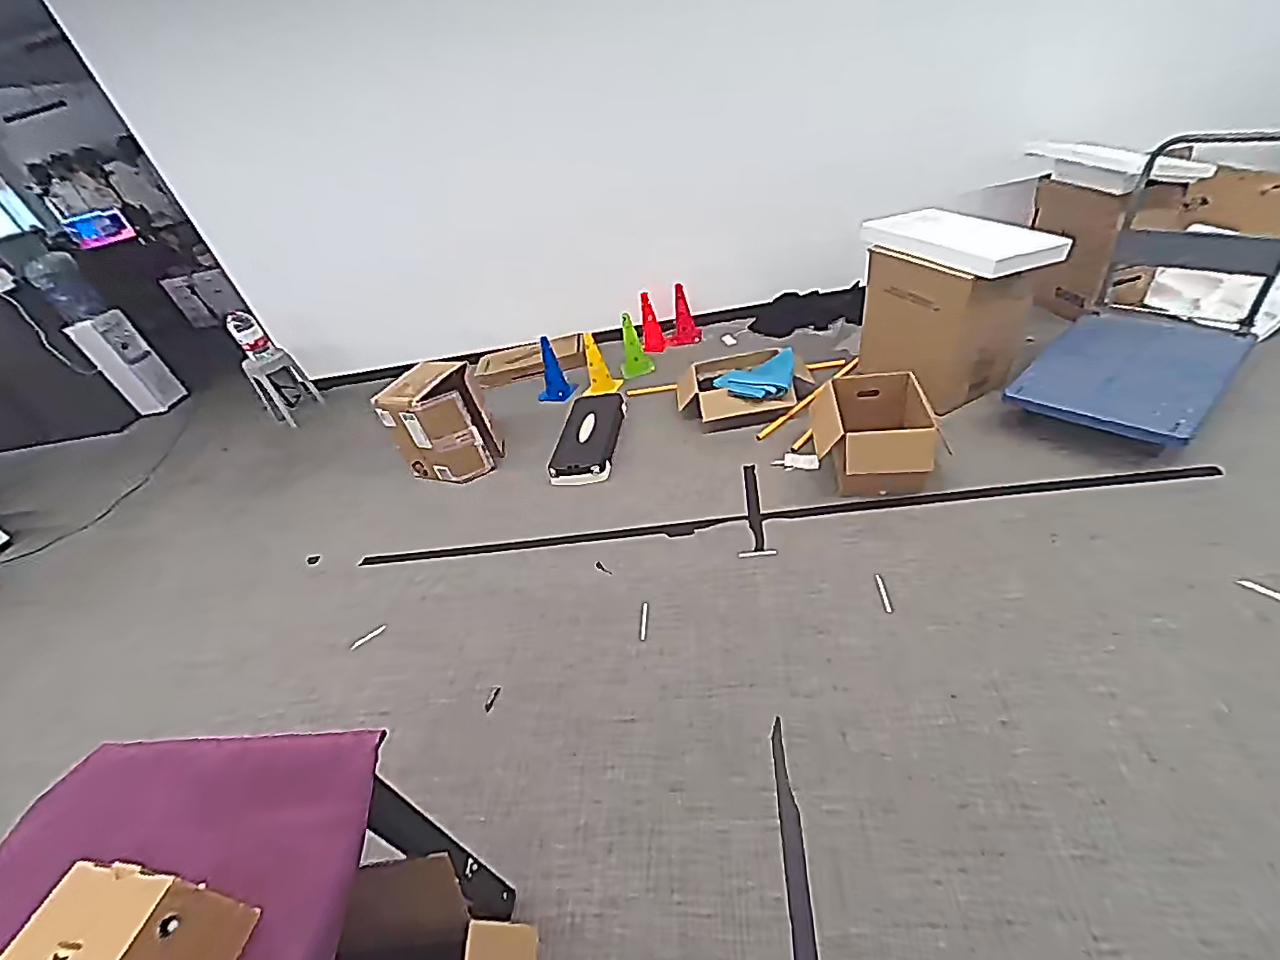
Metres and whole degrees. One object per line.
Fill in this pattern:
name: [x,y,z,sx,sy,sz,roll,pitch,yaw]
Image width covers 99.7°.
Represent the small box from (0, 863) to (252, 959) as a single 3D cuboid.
small box: [-0.620,0.590,0.638,0.168,0.176,0.179,-4,39,14]
